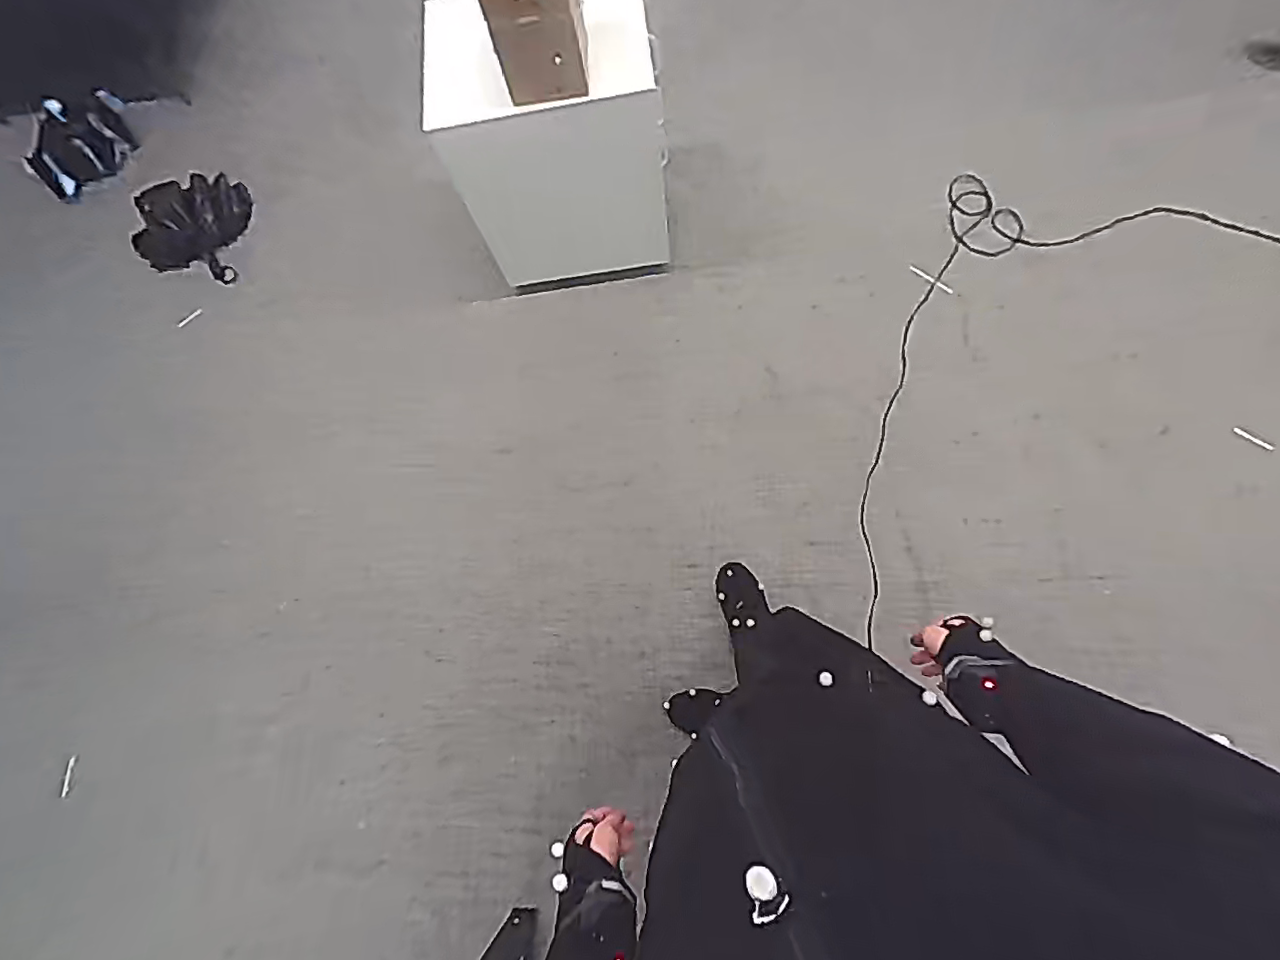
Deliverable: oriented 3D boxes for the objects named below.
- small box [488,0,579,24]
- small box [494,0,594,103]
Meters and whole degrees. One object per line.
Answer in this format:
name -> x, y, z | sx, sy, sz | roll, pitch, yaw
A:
small box -> -0.202, -0.953, 0.946 | 0.168, 0.176, 0.179 | -3, 74, 5
small box -> -0.187, -0.905, 1.102 | 0.168, 0.176, 0.179 | -4, 72, 4
